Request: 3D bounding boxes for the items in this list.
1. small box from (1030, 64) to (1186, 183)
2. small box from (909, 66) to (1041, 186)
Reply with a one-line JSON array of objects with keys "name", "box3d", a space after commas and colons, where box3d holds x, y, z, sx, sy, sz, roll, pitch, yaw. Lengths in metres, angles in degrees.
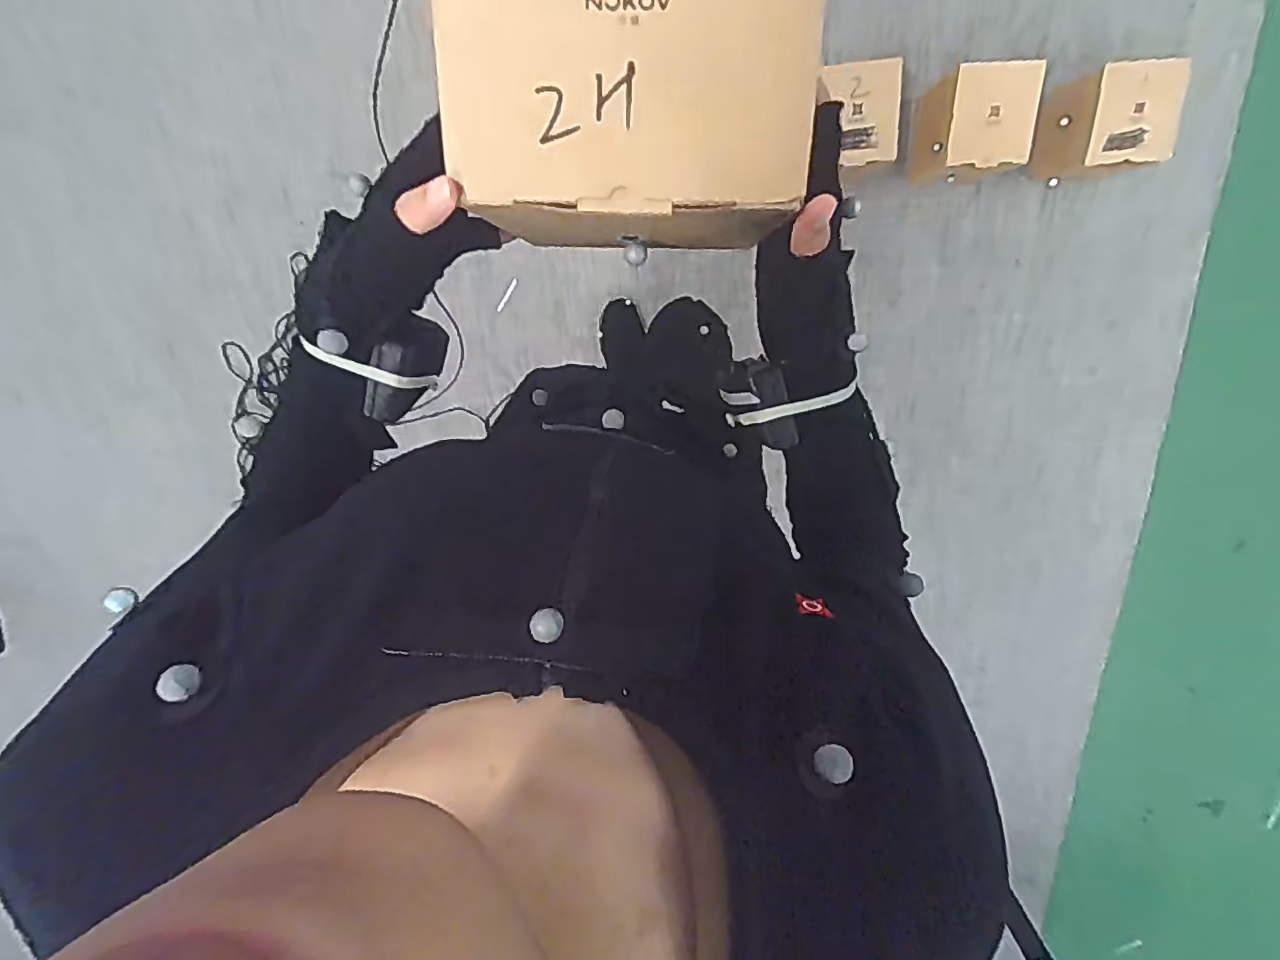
[{"name": "small box", "box3d": [0.960, -0.731, 1.129, 0.168, 0.176, 0.179, -2, 108, 2]}, {"name": "small box", "box3d": [0.691, -0.735, 1.138, 0.168, 0.176, 0.179, -1, 110, 2]}]
